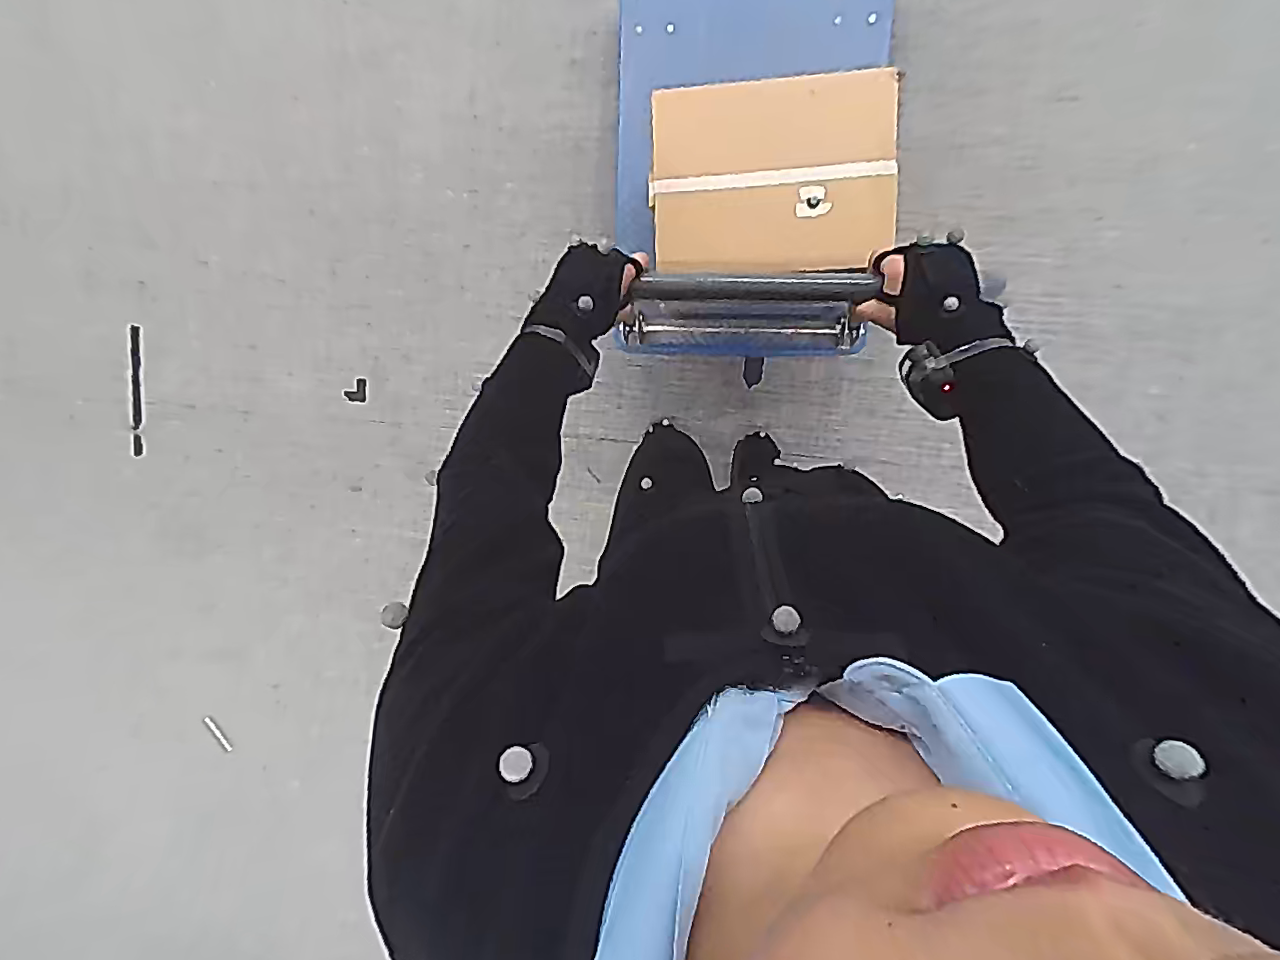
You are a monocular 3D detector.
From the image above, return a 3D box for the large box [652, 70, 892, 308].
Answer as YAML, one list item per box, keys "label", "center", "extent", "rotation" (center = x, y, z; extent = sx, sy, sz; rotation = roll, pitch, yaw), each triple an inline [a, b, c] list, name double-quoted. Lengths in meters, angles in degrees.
- label: "large box"
  center: [0.238, -0.539, 1.077]
  extent: [0.408, 0.320, 0.320]
  rotation: [-1, 98, 5]
